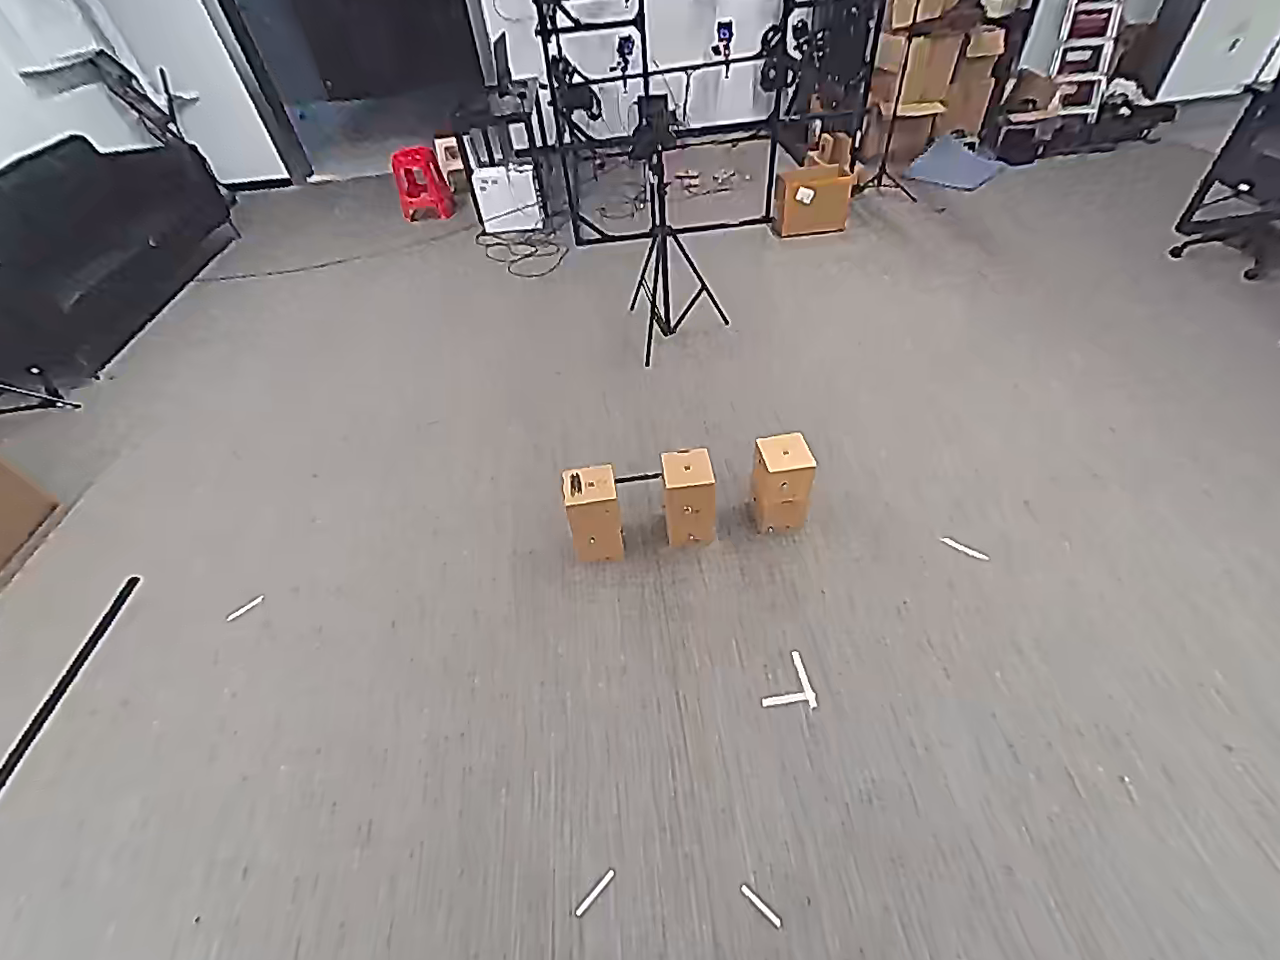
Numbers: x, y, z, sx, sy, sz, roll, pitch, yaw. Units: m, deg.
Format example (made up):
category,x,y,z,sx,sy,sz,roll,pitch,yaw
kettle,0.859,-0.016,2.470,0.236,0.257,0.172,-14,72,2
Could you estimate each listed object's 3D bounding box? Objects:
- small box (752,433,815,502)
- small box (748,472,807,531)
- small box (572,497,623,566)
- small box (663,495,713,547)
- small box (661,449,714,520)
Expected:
category,x,y,z,sx,sy,sz,roll,pitch,yaw
small box,0.502,-0.037,1.908,0.168,0.176,0.179,-8,45,-3
small box,0.510,0.076,2.024,0.168,0.176,0.179,-9,45,-3
small box,-0.157,0.190,1.987,0.168,0.176,0.179,-8,45,-1
small box,0.174,0.125,2.011,0.168,0.176,0.179,-7,46,0
small box,0.163,0.015,1.890,0.168,0.176,0.179,-7,45,0
